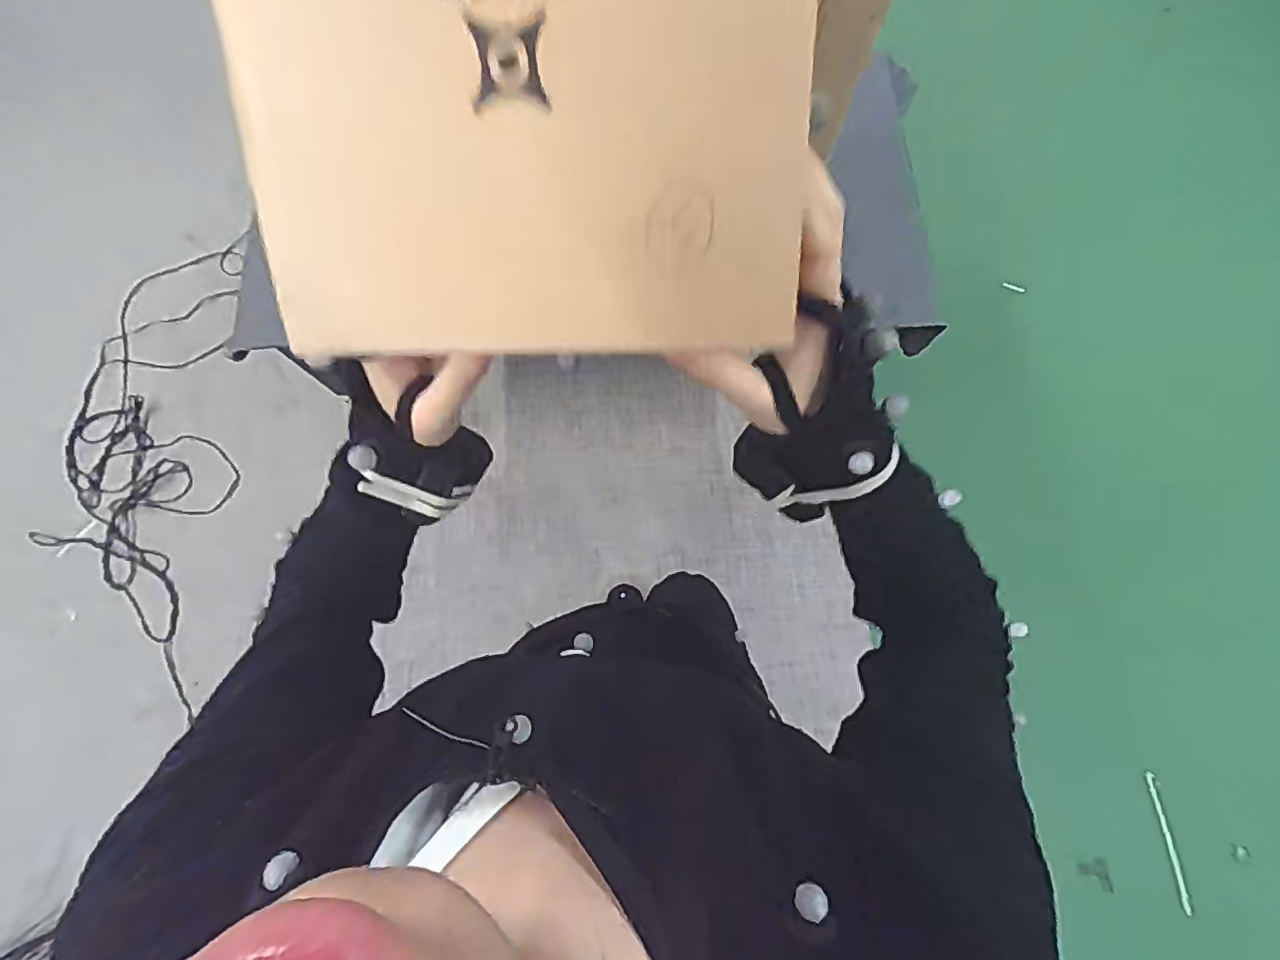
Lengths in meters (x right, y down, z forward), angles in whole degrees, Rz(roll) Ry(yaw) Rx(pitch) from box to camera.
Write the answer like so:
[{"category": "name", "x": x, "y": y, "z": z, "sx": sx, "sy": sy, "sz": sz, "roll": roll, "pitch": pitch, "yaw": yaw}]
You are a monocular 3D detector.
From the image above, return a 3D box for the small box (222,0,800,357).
[{"category": "small box", "x": -0.032, "y": -0.149, "z": 0.229, "sx": 0.168, "sy": 0.176, "sz": 0.179, "roll": 1, "pitch": 107, "yaw": 3}]
